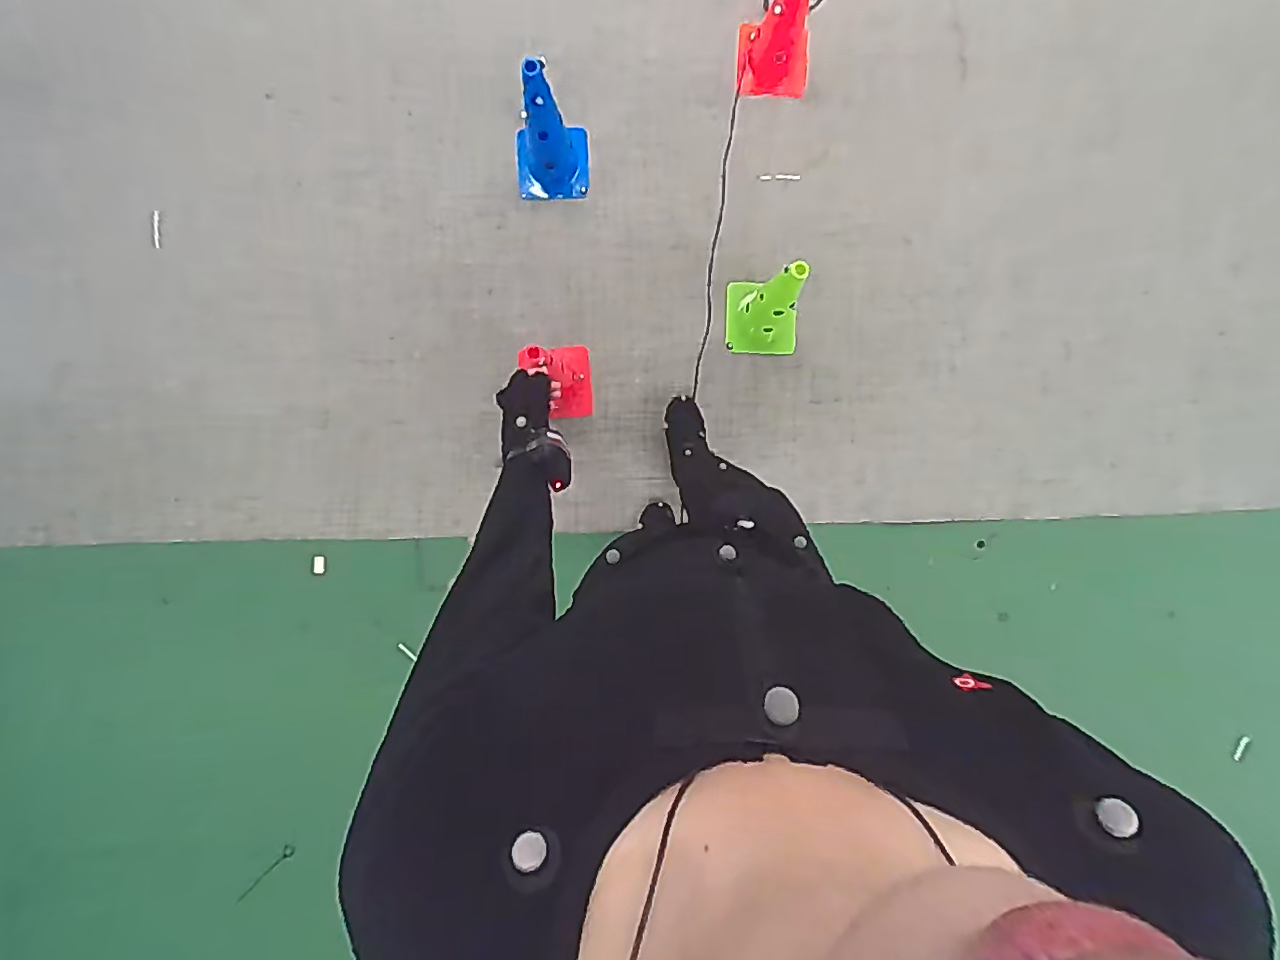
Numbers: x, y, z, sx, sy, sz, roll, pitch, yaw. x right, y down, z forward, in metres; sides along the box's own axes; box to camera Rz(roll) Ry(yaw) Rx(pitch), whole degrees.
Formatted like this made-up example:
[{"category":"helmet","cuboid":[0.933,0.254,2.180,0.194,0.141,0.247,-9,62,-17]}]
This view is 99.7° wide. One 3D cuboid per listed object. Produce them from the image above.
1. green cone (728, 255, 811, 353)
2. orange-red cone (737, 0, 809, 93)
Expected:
[{"category":"green cone","cuboid":[0.353,-0.461,1.350,0.200,0.368,0.202,1,89,-1]},{"category":"orange-red cone","cuboid":[0.376,-1.192,1.358,0.198,0.360,0.199,3,91,0]}]
